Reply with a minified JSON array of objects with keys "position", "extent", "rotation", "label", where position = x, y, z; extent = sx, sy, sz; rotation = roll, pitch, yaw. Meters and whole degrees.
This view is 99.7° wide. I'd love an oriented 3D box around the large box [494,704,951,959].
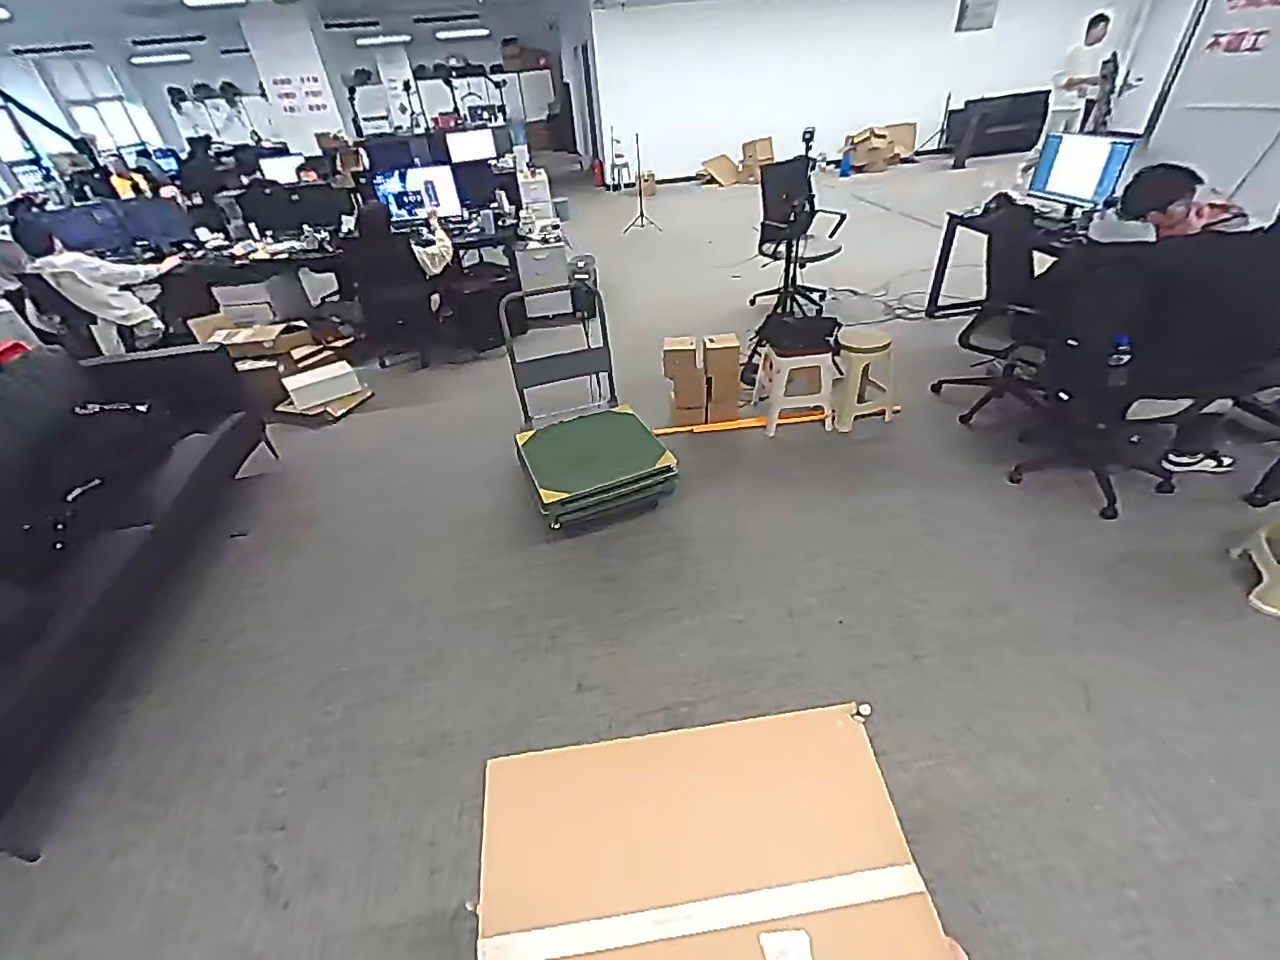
[{"position":[0.070,0.489,0.611],"extent":[0.408,0.320,0.320],"rotation":[-8,52,-3],"label":"large box"}]
